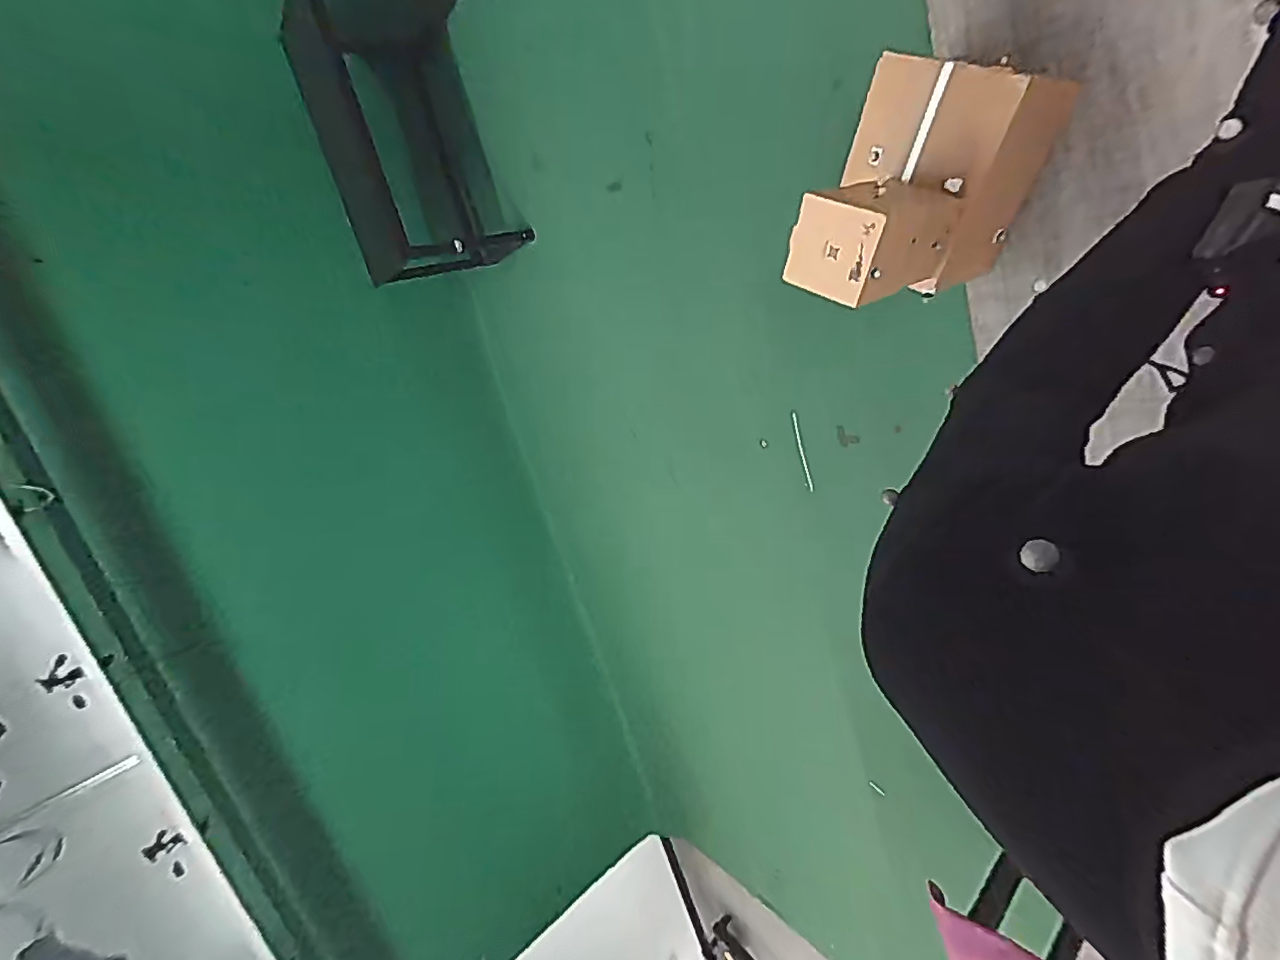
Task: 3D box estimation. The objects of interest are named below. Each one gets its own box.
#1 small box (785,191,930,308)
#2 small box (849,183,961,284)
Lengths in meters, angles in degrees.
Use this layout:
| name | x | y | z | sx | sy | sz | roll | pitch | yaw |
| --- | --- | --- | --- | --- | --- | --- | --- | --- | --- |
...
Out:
| name | x | y | z | sx | sy | sz | roll | pitch | yaw |
| --- | --- | --- | --- | --- | --- | --- | --- | --- | --- |
| small box | 0.421 | -0.457 | 1.058 | 0.179 | 0.176 | 0.168 | 39 | 139 | 33 |
| small box | 0.537 | -0.523 | 1.154 | 0.179 | 0.176 | 0.168 | 38 | 139 | 32 |
